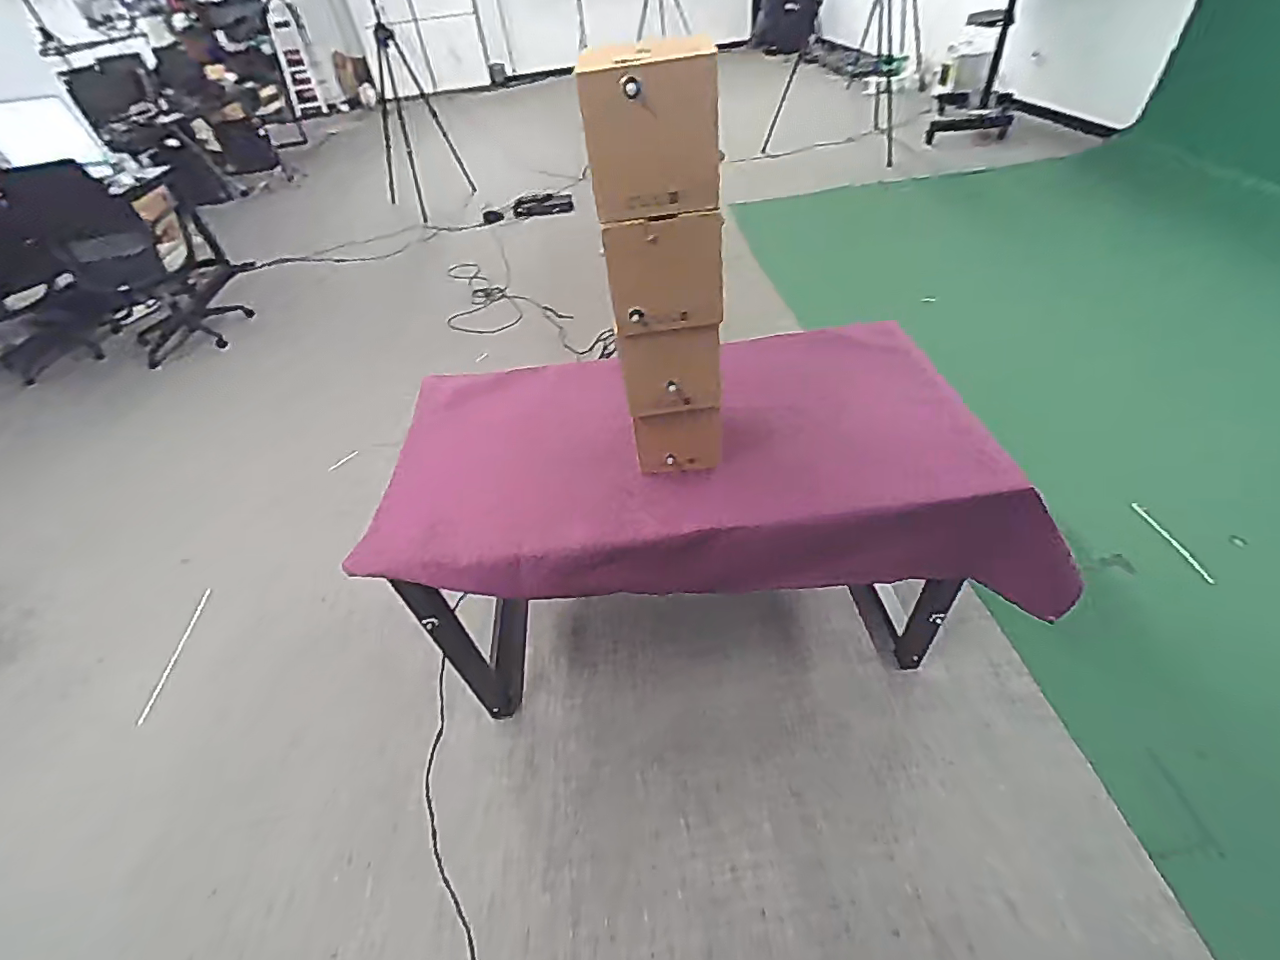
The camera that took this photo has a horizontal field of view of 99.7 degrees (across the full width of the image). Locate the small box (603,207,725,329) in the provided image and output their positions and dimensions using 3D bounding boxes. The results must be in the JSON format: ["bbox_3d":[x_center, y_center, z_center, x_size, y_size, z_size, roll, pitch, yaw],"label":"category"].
[{"bbox_3d":[0.040,-0.347,0.842,0.168,0.176,0.179,-6,44,4],"label":"small box"}]

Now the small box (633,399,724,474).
[{"bbox_3d":[0.076,-0.134,1.088,0.168,0.176,0.179,-5,45,4],"label":"small box"}]

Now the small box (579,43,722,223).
[{"bbox_3d":[0.020,-0.467,0.731,0.168,0.176,0.179,-5,44,5],"label":"small box"}]

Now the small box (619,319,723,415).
[{"bbox_3d":[0.054,-0.238,0.963,0.168,0.176,0.179,-7,45,4],"label":"small box"}]
